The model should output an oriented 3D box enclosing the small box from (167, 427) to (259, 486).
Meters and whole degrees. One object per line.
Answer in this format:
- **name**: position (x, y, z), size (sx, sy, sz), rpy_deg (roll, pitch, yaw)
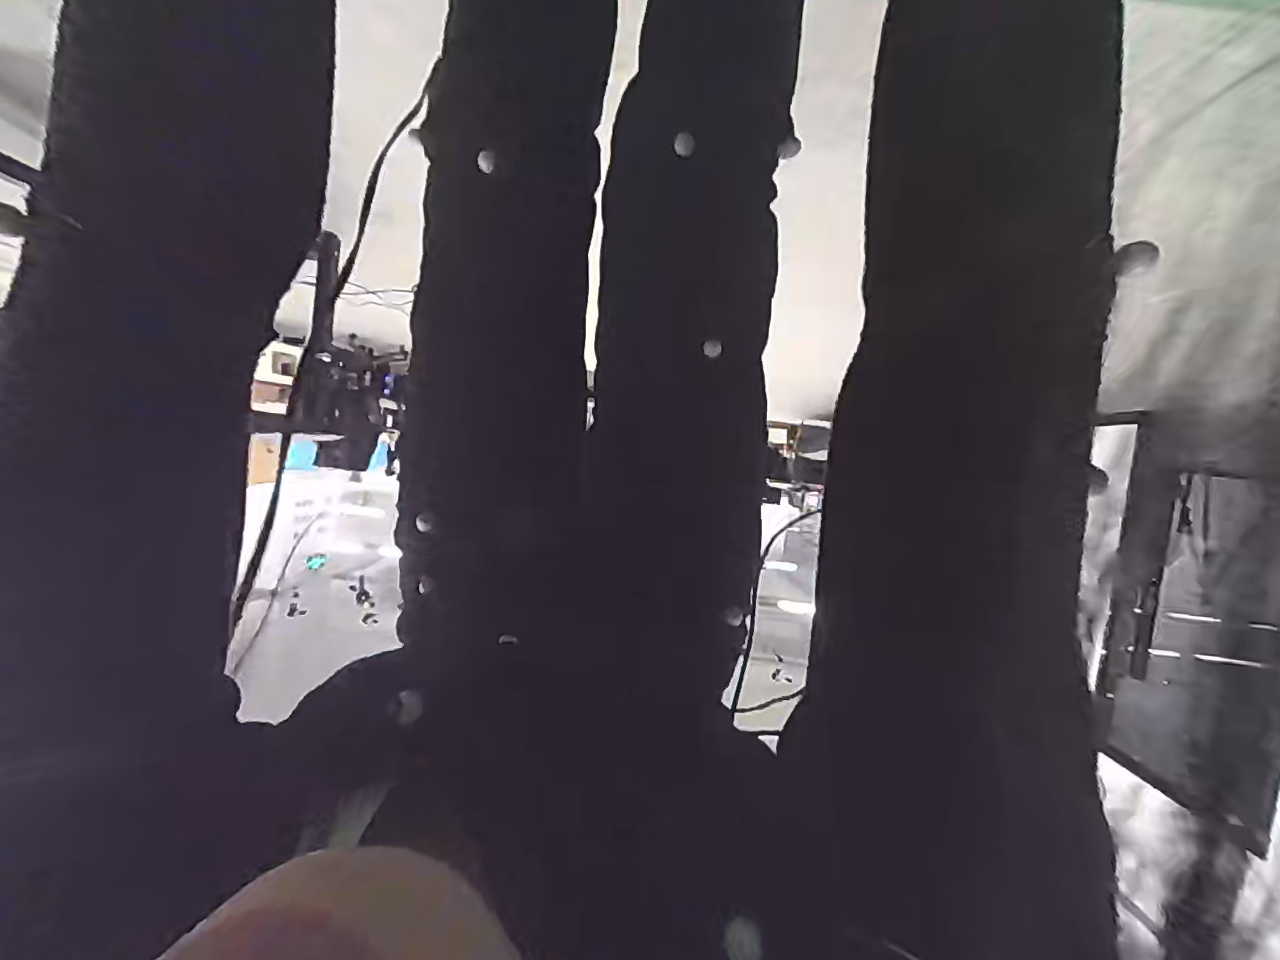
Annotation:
- **small box**: position (-1.356, -0.078, 1.724), size (0.179, 0.176, 0.168), rpy_deg (7, -177, -5)
